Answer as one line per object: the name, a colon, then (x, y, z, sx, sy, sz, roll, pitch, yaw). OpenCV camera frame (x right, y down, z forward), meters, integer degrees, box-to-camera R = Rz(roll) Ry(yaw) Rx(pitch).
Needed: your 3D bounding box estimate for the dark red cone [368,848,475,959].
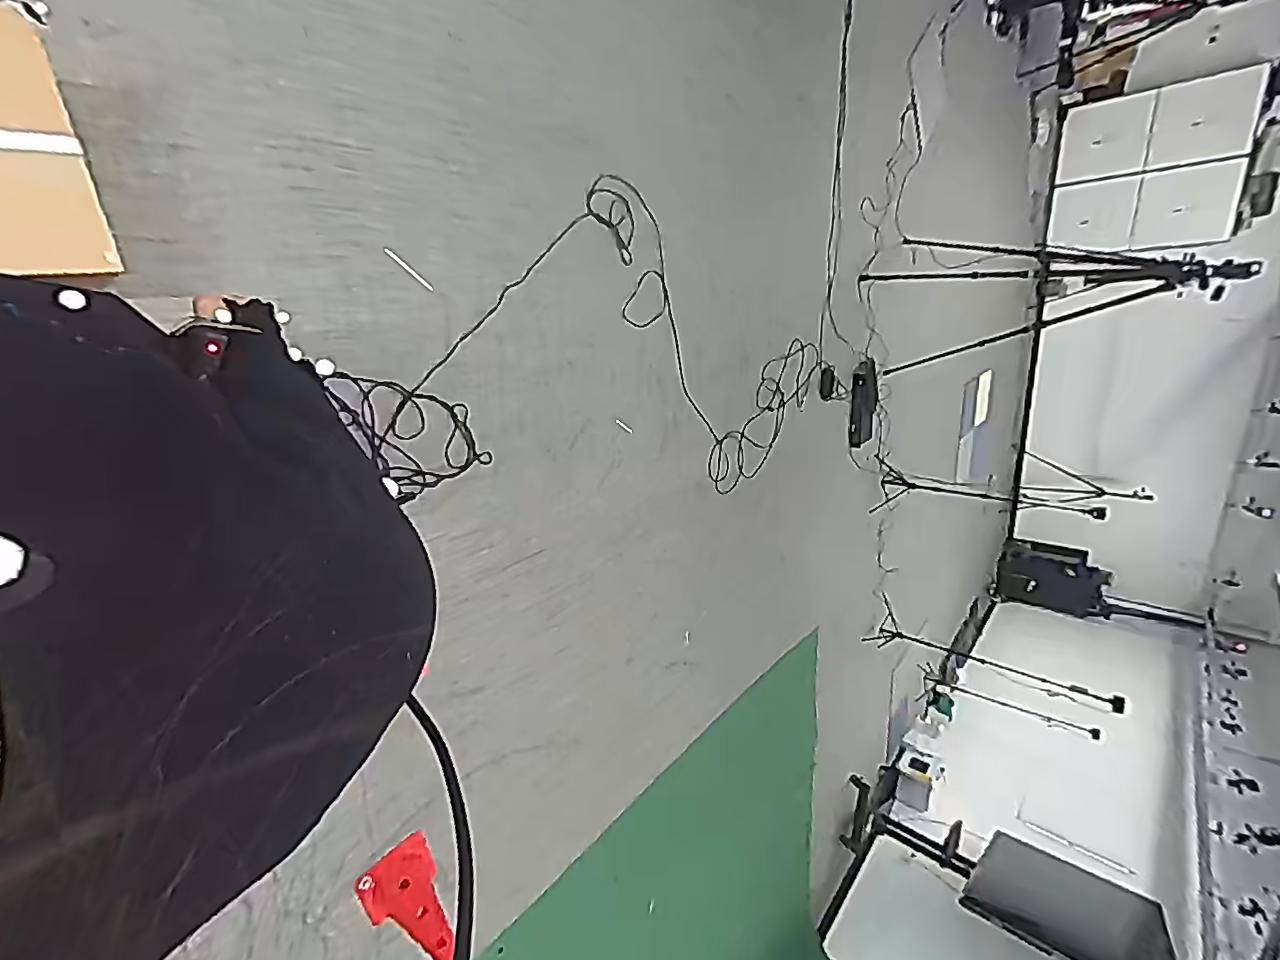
dark red cone: (-0.529, 1.196, 1.419, 0.202, 0.394, 0.201, -30, 122, -40)
